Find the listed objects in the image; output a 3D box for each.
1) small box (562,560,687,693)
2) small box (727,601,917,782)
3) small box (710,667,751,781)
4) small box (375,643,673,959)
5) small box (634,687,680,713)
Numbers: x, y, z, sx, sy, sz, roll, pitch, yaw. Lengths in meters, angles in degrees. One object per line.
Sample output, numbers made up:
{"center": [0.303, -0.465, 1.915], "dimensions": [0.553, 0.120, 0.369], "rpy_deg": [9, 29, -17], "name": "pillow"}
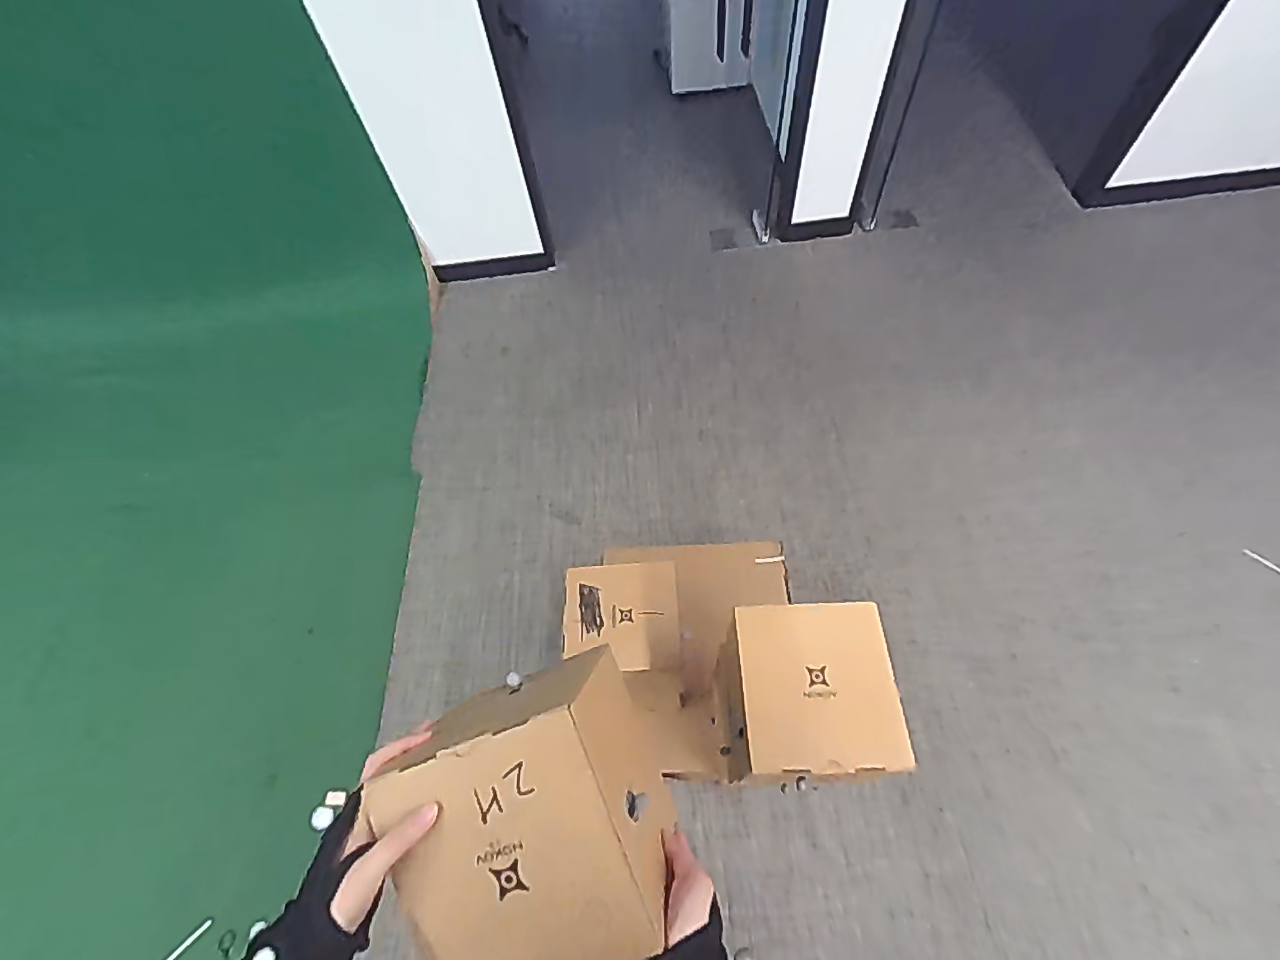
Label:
{"center": [-0.020, 0.244, 0.874], "dimensions": [0.179, 0.176, 0.168], "rpy_deg": [-5, 58, 4], "name": "small box"}
{"center": [0.200, 0.260, 0.654], "dimensions": [0.168, 0.176, 0.179], "rpy_deg": [-3, 58, 3], "name": "small box"}
{"center": [0.219, 0.422, 0.937], "dimensions": [0.179, 0.176, 0.168], "rpy_deg": [-5, 57, 3], "name": "small box"}
{"center": [-0.077, 0.264, 0.456], "dimensions": [0.168, 0.176, 0.179], "rpy_deg": [-22, 85, 4], "name": "small box"}
{"center": [-0.011, 0.330, 1.016], "dimensions": [0.168, 0.176, 0.179], "rpy_deg": [-4, 57, 4], "name": "small box"}
